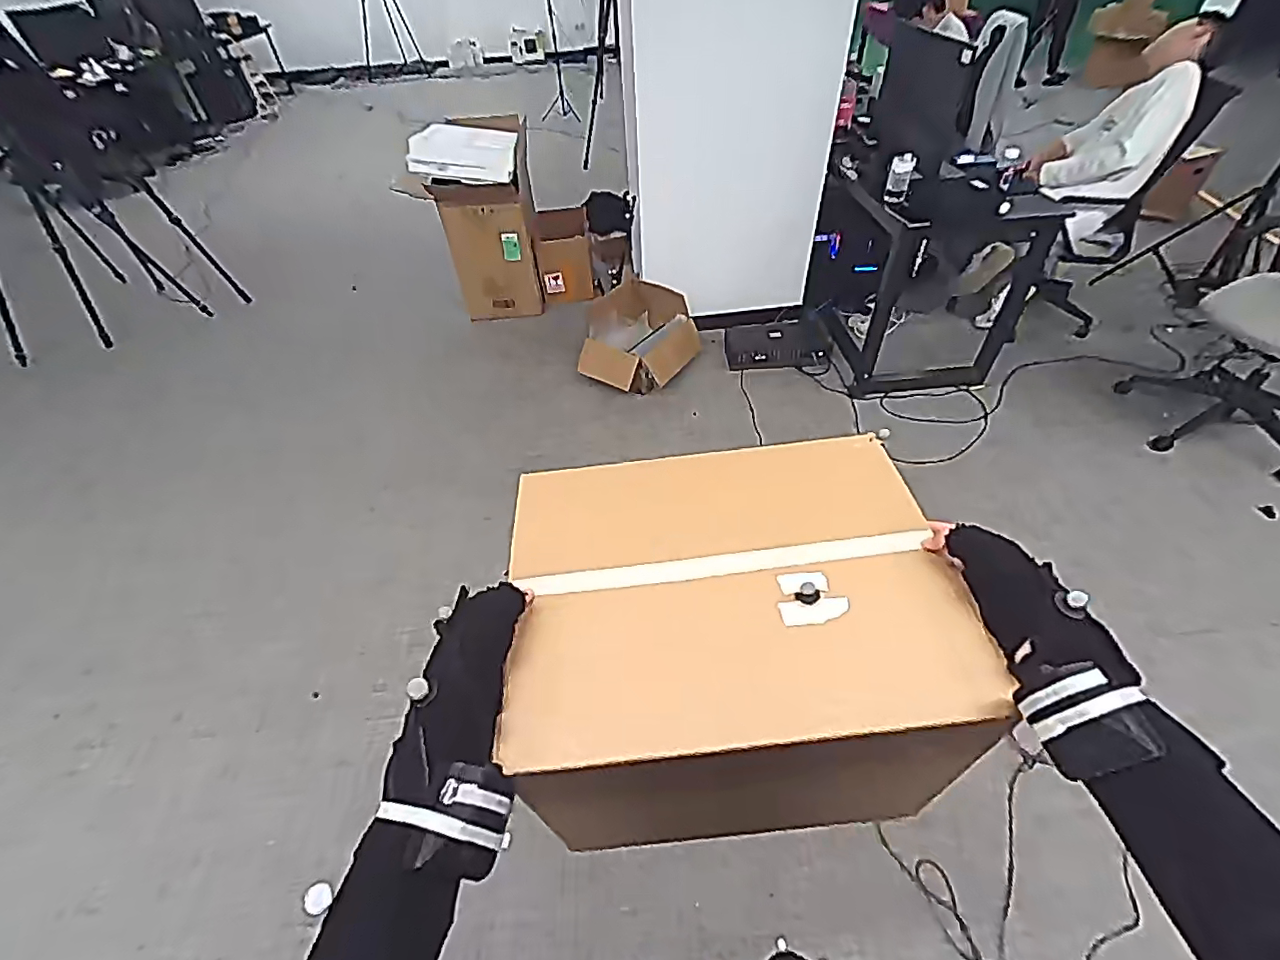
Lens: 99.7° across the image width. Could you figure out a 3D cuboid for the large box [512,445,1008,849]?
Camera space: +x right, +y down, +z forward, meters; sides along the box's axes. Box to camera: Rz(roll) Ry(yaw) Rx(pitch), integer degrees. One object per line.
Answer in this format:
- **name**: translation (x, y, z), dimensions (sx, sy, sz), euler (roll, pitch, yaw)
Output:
- **large box**: translation (0.093, 0.195, 0.630), dimensions (0.408, 0.320, 0.320), euler (-7, 46, 0)
